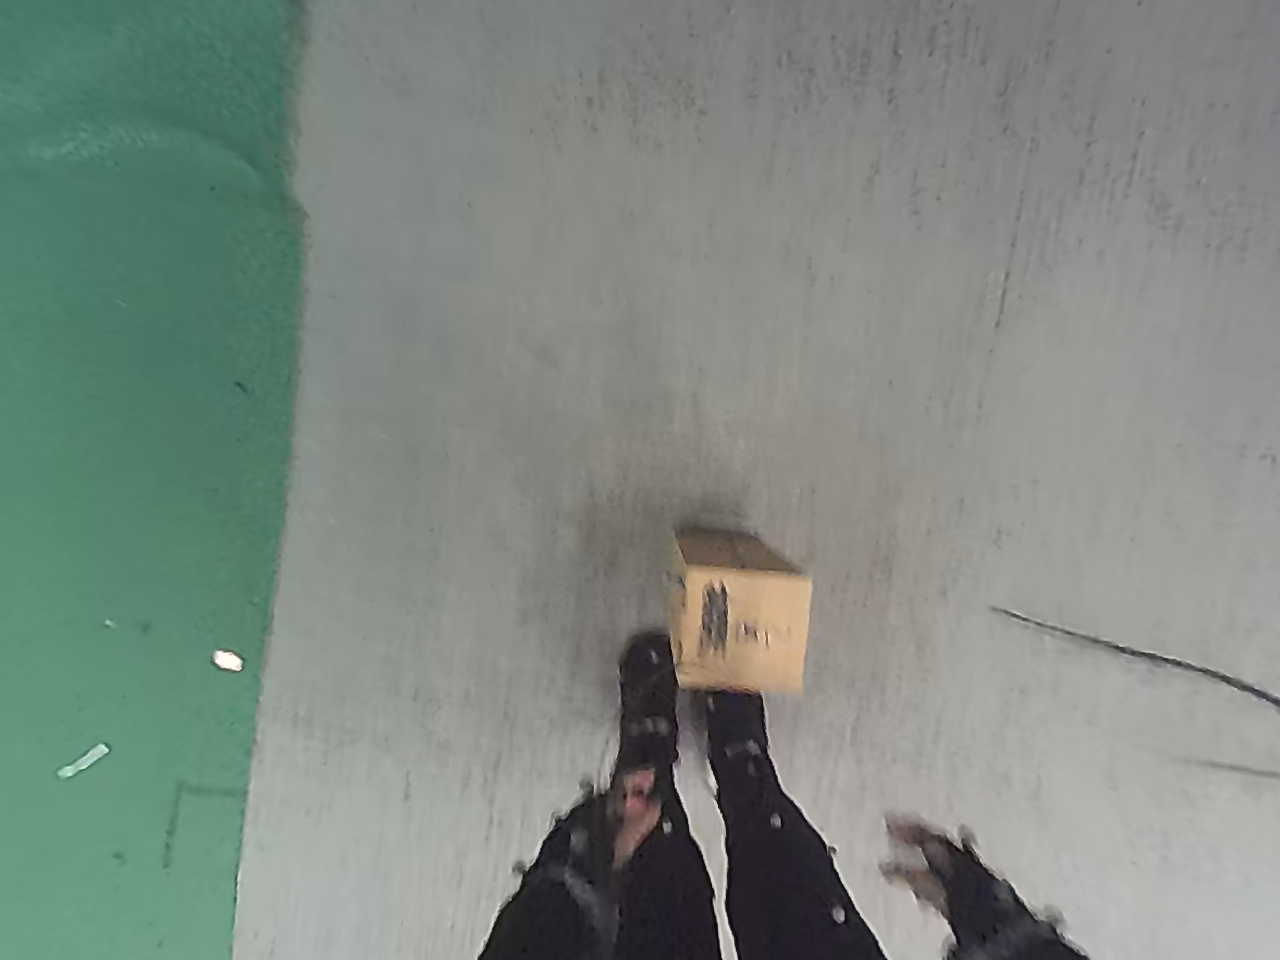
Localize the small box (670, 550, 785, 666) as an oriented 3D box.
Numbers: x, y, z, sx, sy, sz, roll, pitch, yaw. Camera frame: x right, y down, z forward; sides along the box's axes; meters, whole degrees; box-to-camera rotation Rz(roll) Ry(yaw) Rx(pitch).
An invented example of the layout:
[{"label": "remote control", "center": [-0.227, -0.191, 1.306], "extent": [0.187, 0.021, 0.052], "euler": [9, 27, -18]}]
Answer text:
[{"label": "small box", "center": [0.151, 0.226, 0.992], "extent": [0.179, 0.176, 0.168], "euler": [5, 91, 1]}]
